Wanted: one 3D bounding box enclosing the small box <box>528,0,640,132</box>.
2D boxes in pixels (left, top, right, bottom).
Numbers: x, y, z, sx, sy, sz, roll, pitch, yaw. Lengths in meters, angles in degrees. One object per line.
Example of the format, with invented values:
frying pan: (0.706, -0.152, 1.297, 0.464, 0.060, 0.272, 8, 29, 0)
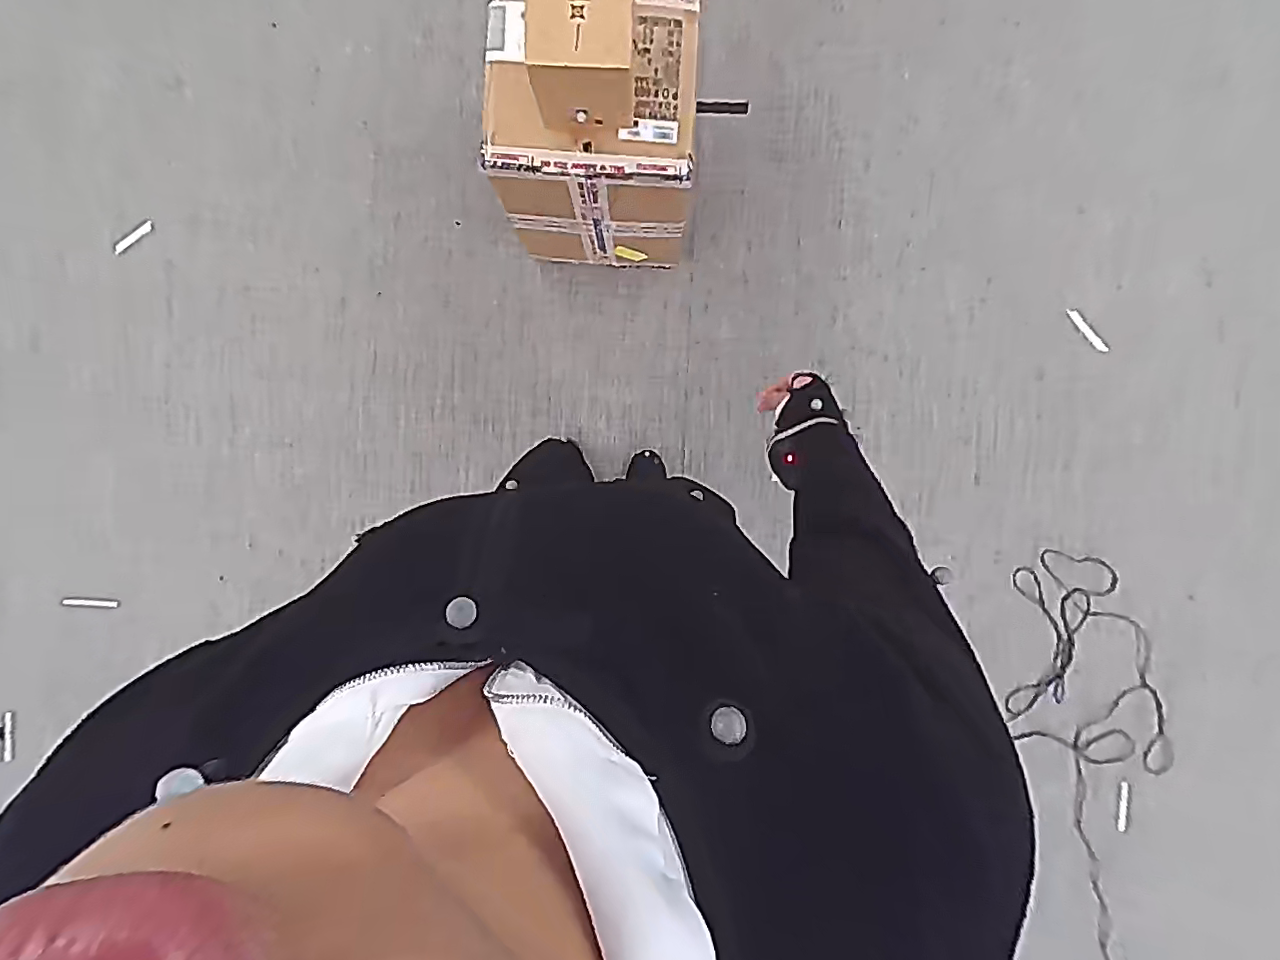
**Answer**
small box: (-0.086, -0.719, 0.899, 0.168, 0.176, 0.179, 3, 95, 0)
